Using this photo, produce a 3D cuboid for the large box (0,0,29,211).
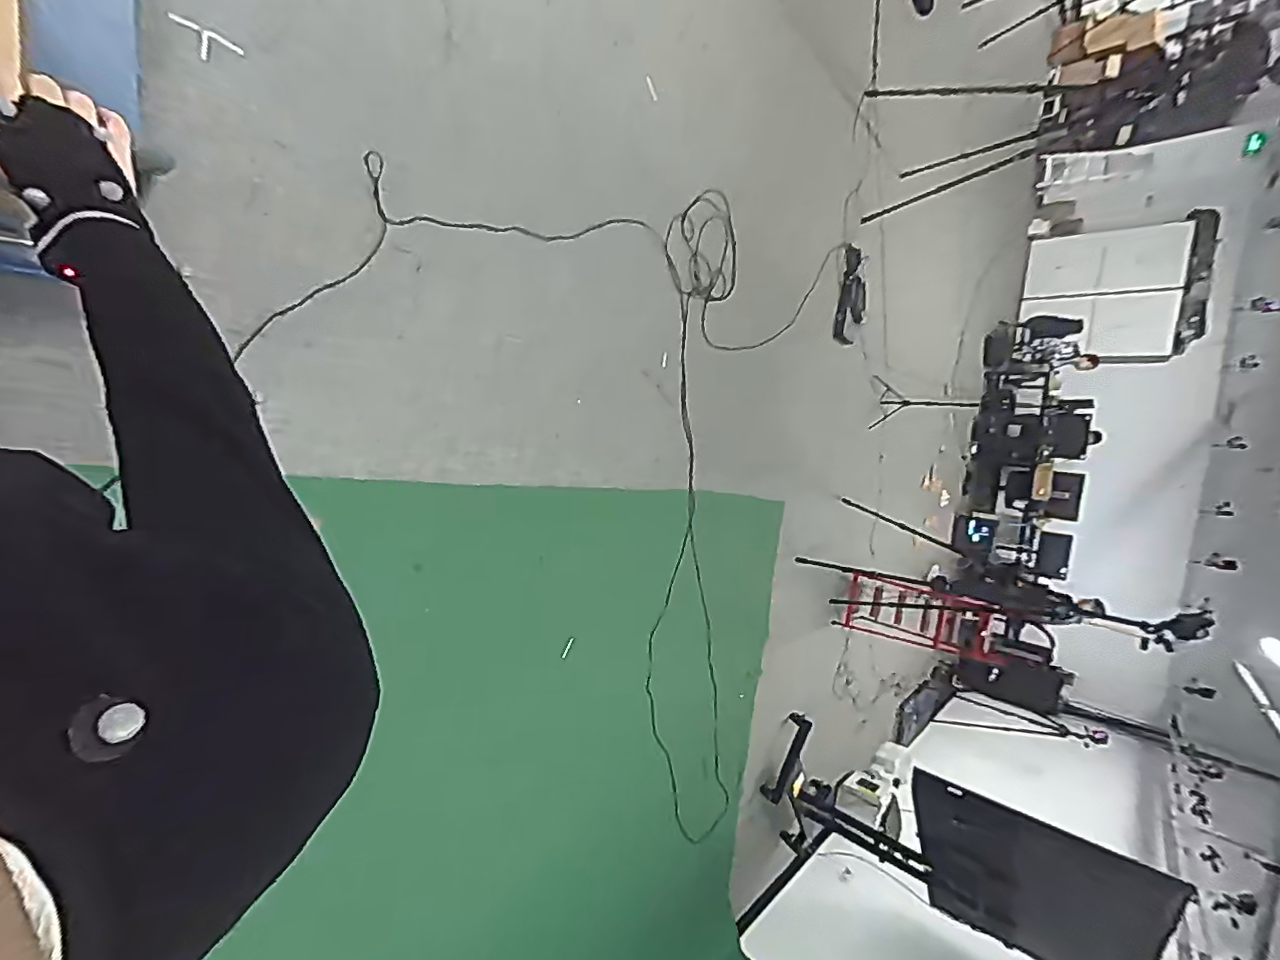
[{"bbox_3d":[-1.055,-0.636,0.712,0.320,0.320,0.408,-3,98,-48],"label":"large box"}]
